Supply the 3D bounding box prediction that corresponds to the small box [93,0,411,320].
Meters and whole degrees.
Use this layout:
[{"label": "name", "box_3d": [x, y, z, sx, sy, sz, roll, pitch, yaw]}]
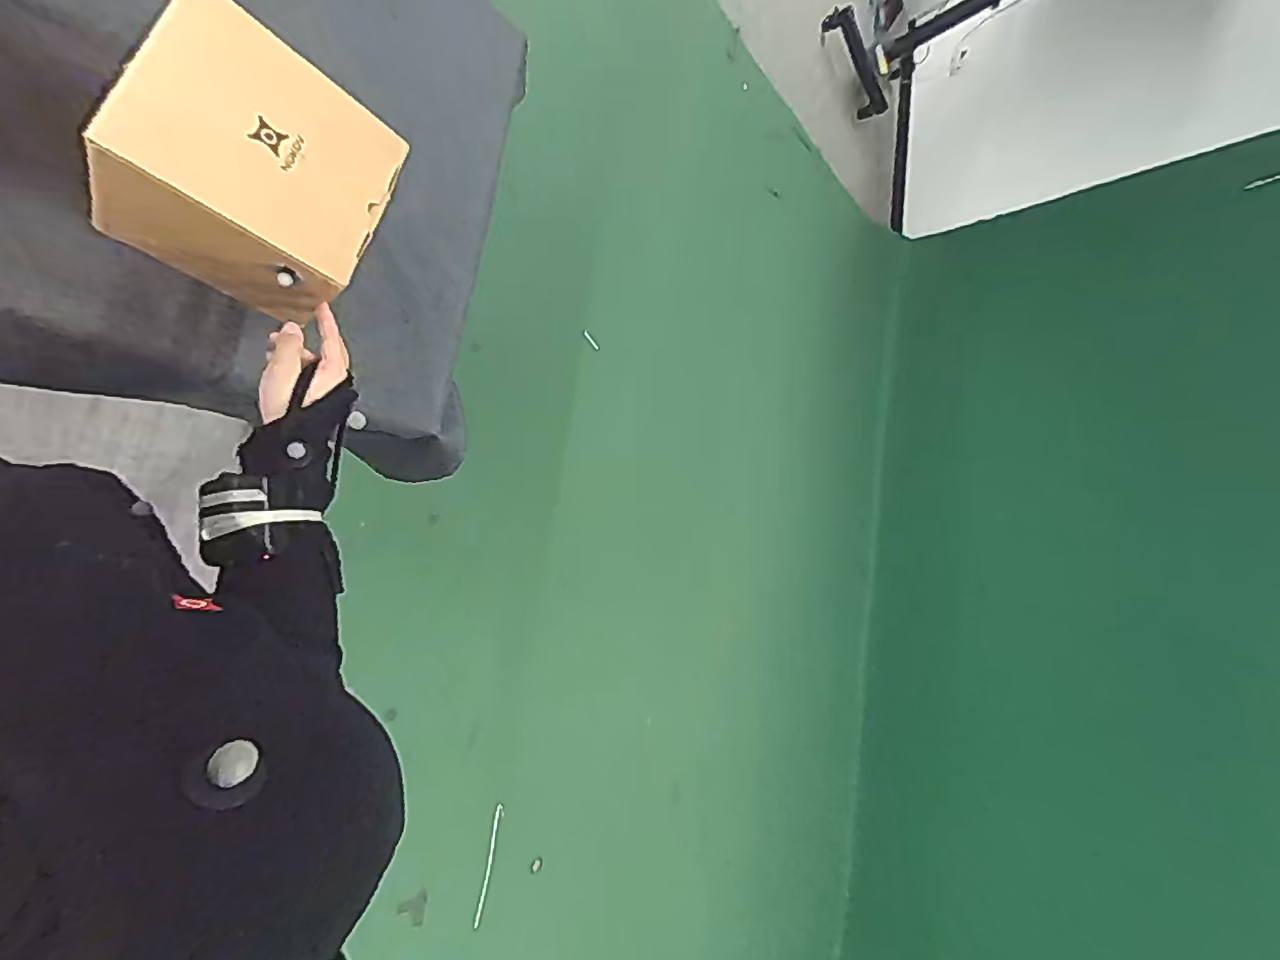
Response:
[{"label": "small box", "box_3d": [-0.353, -0.272, 0.499, 0.179, 0.176, 0.168, 28, 69, -42]}]
